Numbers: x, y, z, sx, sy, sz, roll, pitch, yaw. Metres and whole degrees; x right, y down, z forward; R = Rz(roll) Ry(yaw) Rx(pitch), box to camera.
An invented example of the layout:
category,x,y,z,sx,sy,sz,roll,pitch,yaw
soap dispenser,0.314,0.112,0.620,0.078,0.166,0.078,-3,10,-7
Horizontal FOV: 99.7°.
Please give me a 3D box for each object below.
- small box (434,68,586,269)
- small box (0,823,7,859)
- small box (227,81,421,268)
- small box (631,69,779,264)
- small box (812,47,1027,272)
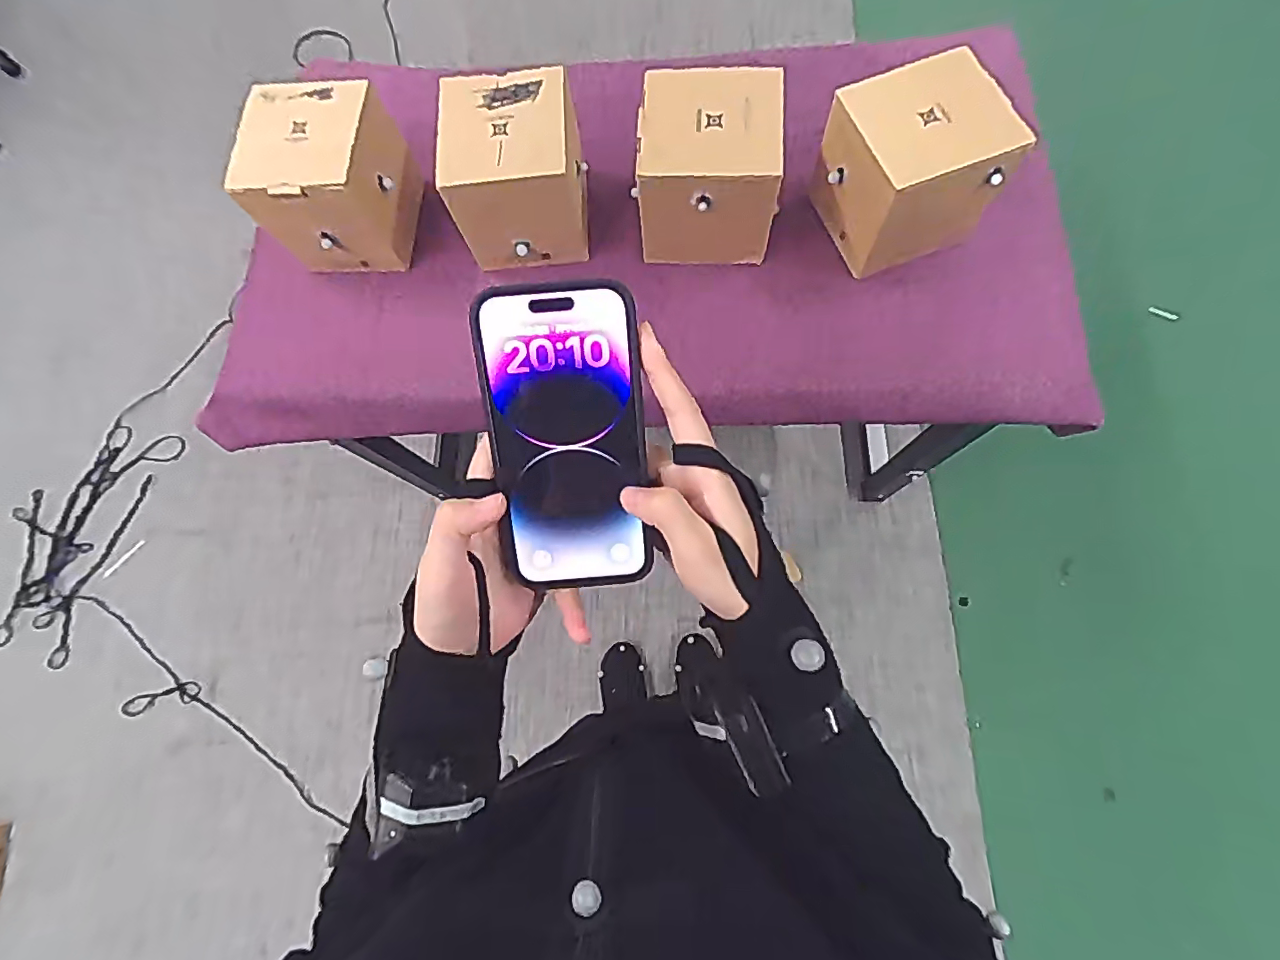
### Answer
category,x,y,z,sx,sy,sz,roll,pitch,yaw
small box,-0.171,-0.428,0.761,0.168,0.176,0.179,-4,75,4
small box,-1.648,0.917,1.250,0.179,0.176,0.168,-8,74,2
small box,-0.439,-0.428,0.782,0.168,0.176,0.179,1,75,5
small box,0.088,-0.418,0.740,0.179,0.176,0.168,3,75,5
small box,0.345,-0.409,0.716,0.179,0.176,0.168,-20,73,-2
